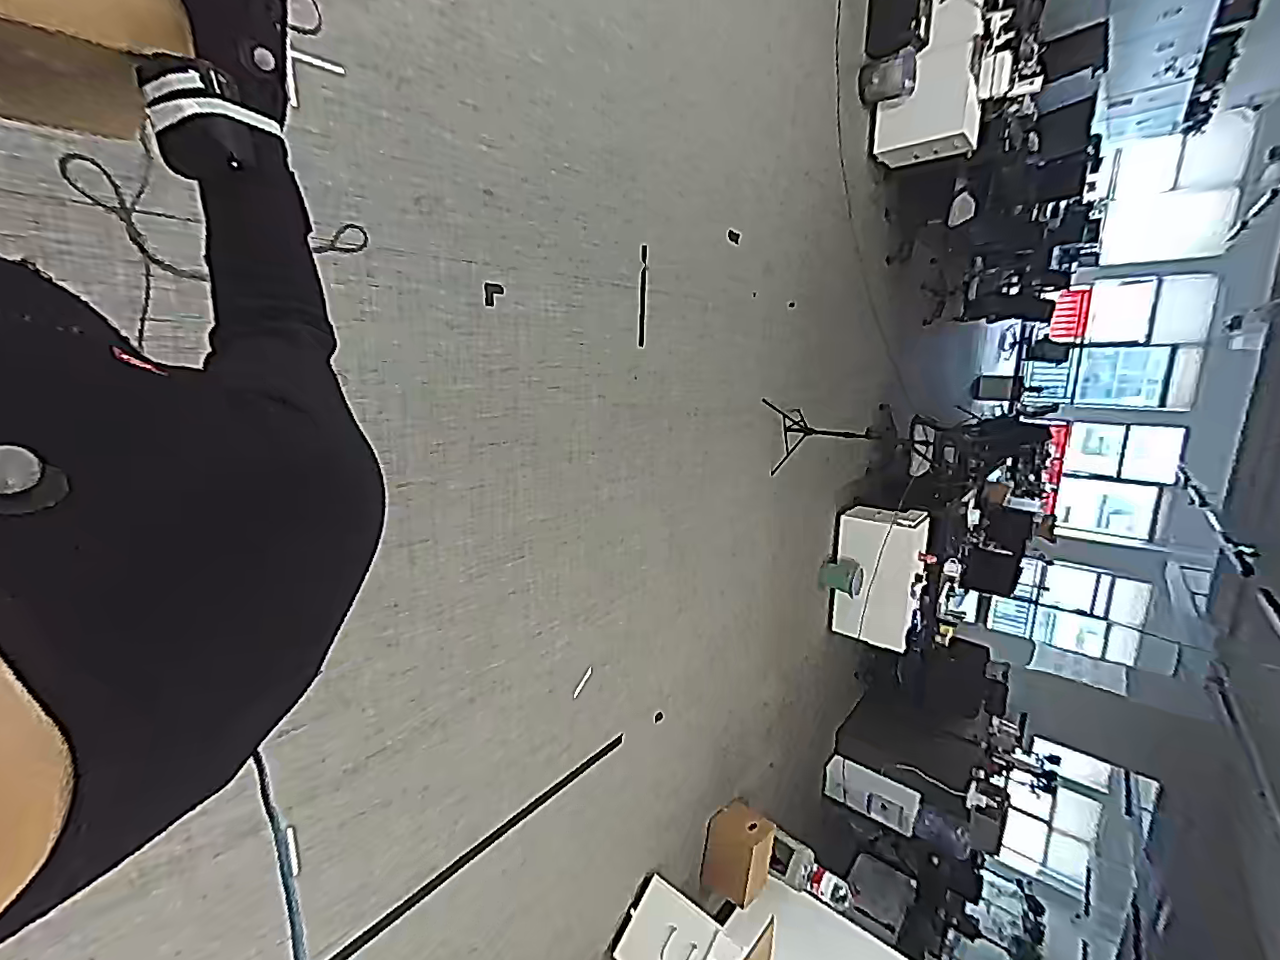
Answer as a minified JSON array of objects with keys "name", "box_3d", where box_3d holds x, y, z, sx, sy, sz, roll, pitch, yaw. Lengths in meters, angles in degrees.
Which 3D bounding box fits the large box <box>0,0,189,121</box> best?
[{"name":"large box","box_3d":[-0.560,-0.443,0.290,0.408,0.320,0.320,-17,118,-47]}]
